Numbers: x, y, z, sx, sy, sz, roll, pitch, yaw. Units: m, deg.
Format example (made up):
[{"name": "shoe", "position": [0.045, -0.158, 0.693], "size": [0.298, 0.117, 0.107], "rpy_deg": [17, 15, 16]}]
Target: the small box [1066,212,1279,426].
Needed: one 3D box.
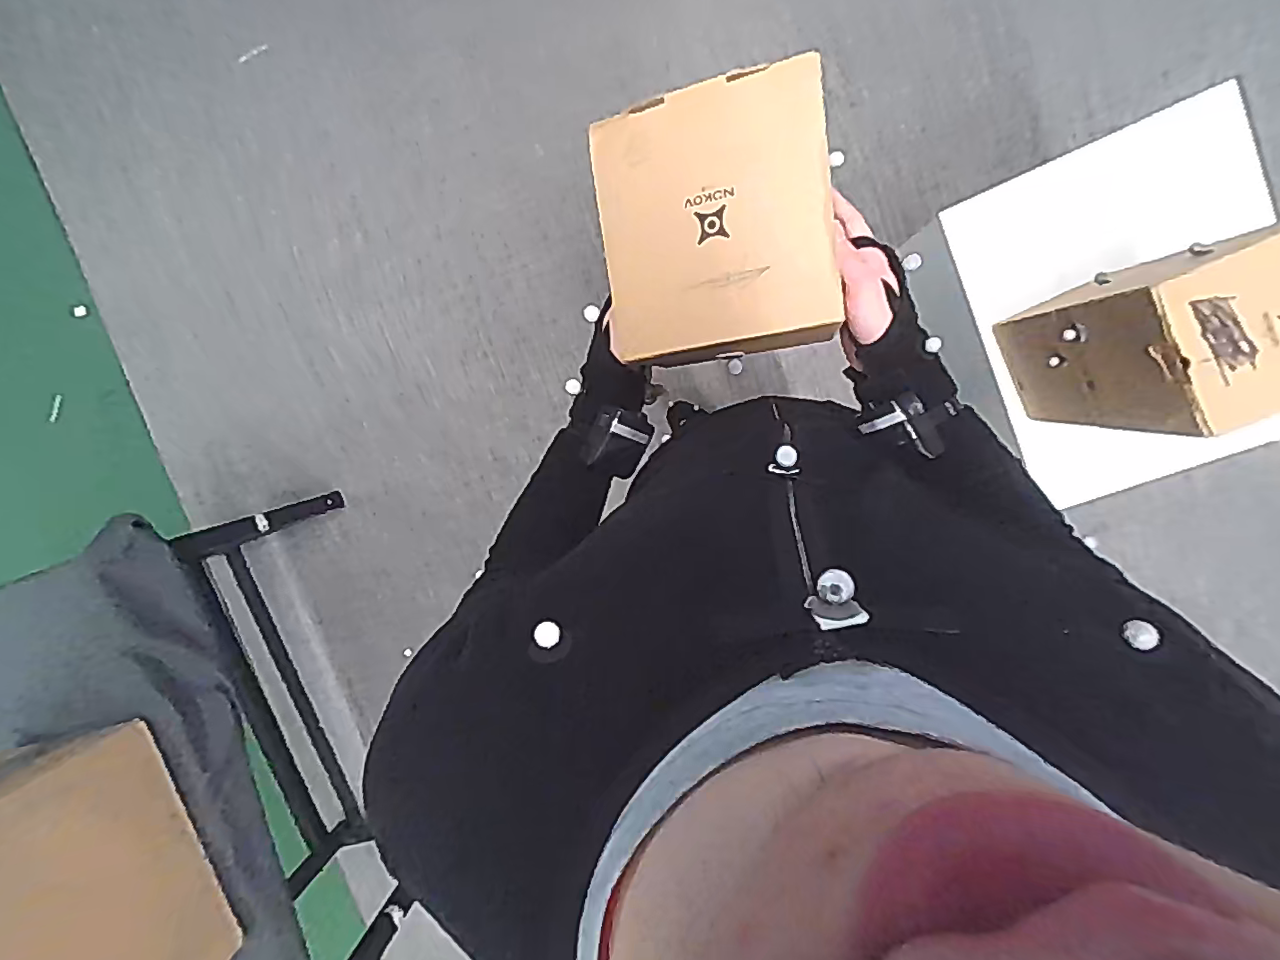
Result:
[{"name": "small box", "position": [0.615, -0.169, 0.590], "size": [0.179, 0.176, 0.168], "rpy_deg": [-25, 95, 11]}]

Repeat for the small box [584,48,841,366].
[{"name": "small box", "position": [0.069, -0.200, 0.458], "size": [0.168, 0.176, 0.179], "rpy_deg": [-7, 97, 18]}]

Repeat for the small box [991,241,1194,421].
[{"name": "small box", "position": [0.640, -0.196, 0.751], "size": [0.179, 0.176, 0.168], "rpy_deg": [-25, 94, 11]}]
